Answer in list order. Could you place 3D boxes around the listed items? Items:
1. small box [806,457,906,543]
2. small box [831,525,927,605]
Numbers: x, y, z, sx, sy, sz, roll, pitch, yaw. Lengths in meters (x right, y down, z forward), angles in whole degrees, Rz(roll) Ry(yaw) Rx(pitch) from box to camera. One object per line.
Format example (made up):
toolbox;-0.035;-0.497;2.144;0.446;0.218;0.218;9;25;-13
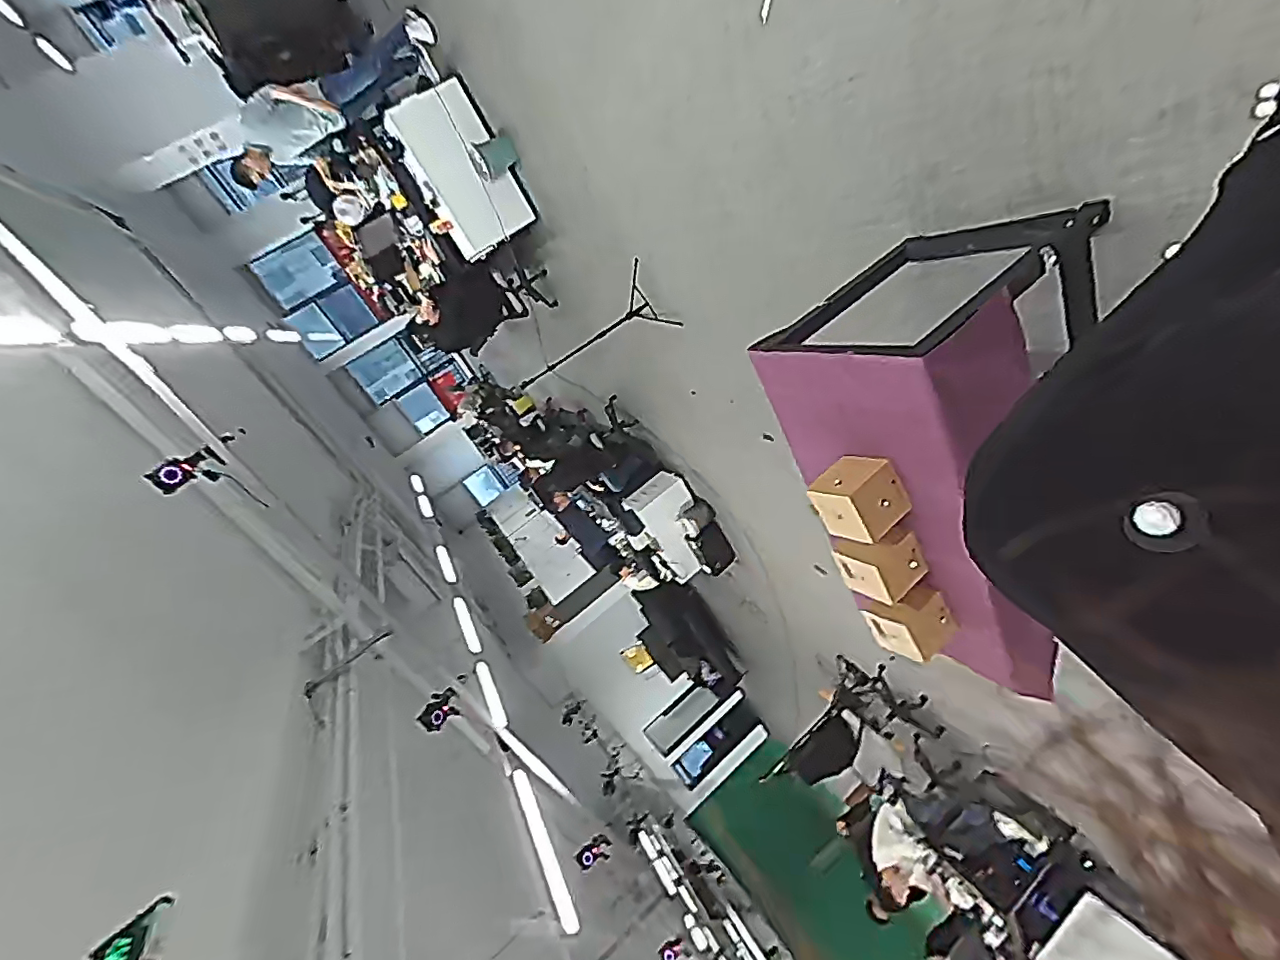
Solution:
small box;0.612;0.048;1.519;0.168;0.176;0.179;56;166;-17
small box;0.726;0.239;1.641;0.168;0.176;0.179;57;165;-23
